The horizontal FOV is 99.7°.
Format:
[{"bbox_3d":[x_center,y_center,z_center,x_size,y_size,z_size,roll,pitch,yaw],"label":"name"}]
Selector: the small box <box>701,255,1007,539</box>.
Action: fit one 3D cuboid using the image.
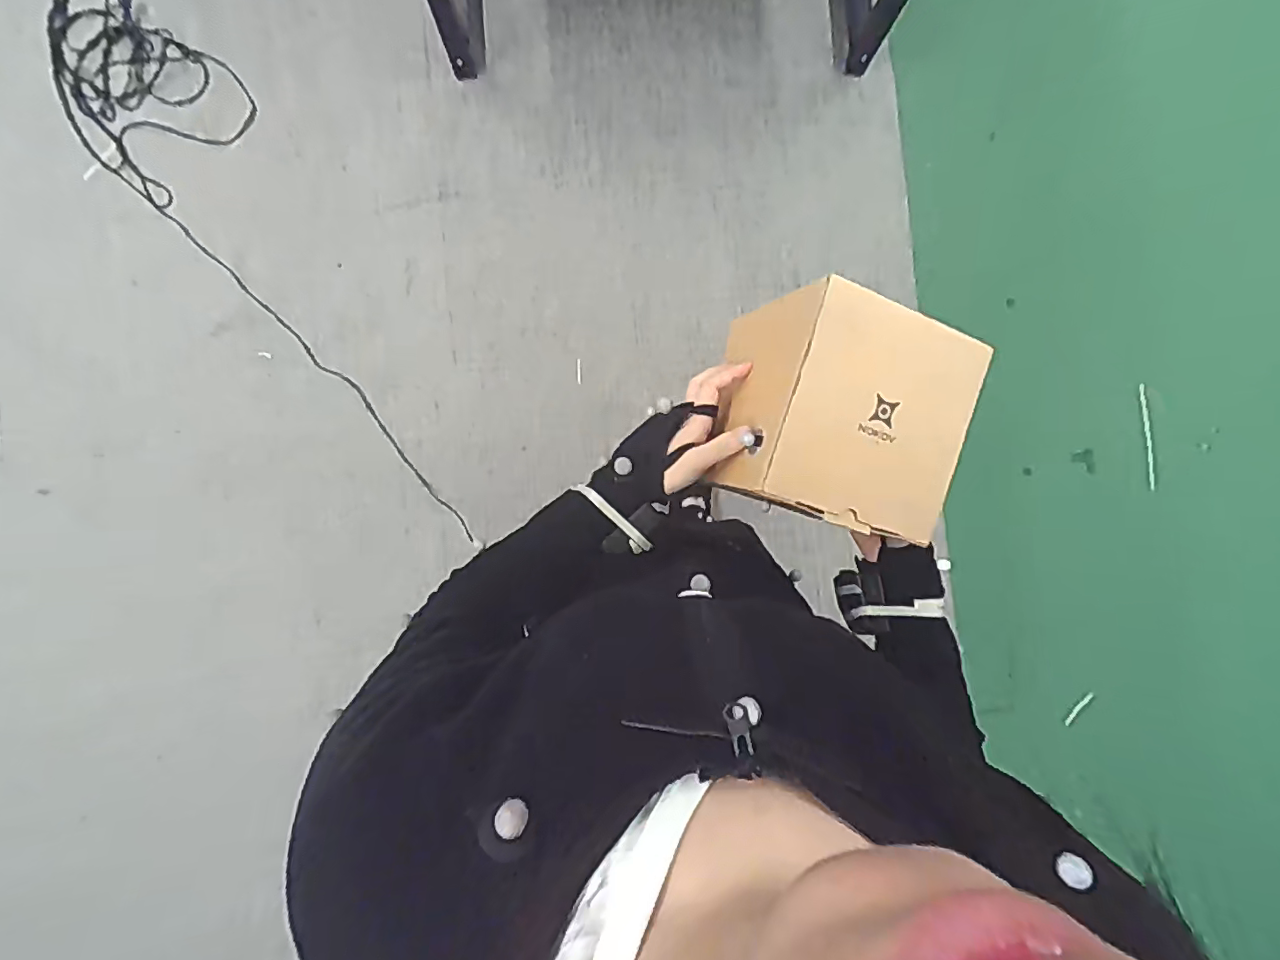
[{"bbox_3d":[0.173,-0.064,0.486,0.168,0.176,0.179,17,91,-15],"label":"small box"}]
